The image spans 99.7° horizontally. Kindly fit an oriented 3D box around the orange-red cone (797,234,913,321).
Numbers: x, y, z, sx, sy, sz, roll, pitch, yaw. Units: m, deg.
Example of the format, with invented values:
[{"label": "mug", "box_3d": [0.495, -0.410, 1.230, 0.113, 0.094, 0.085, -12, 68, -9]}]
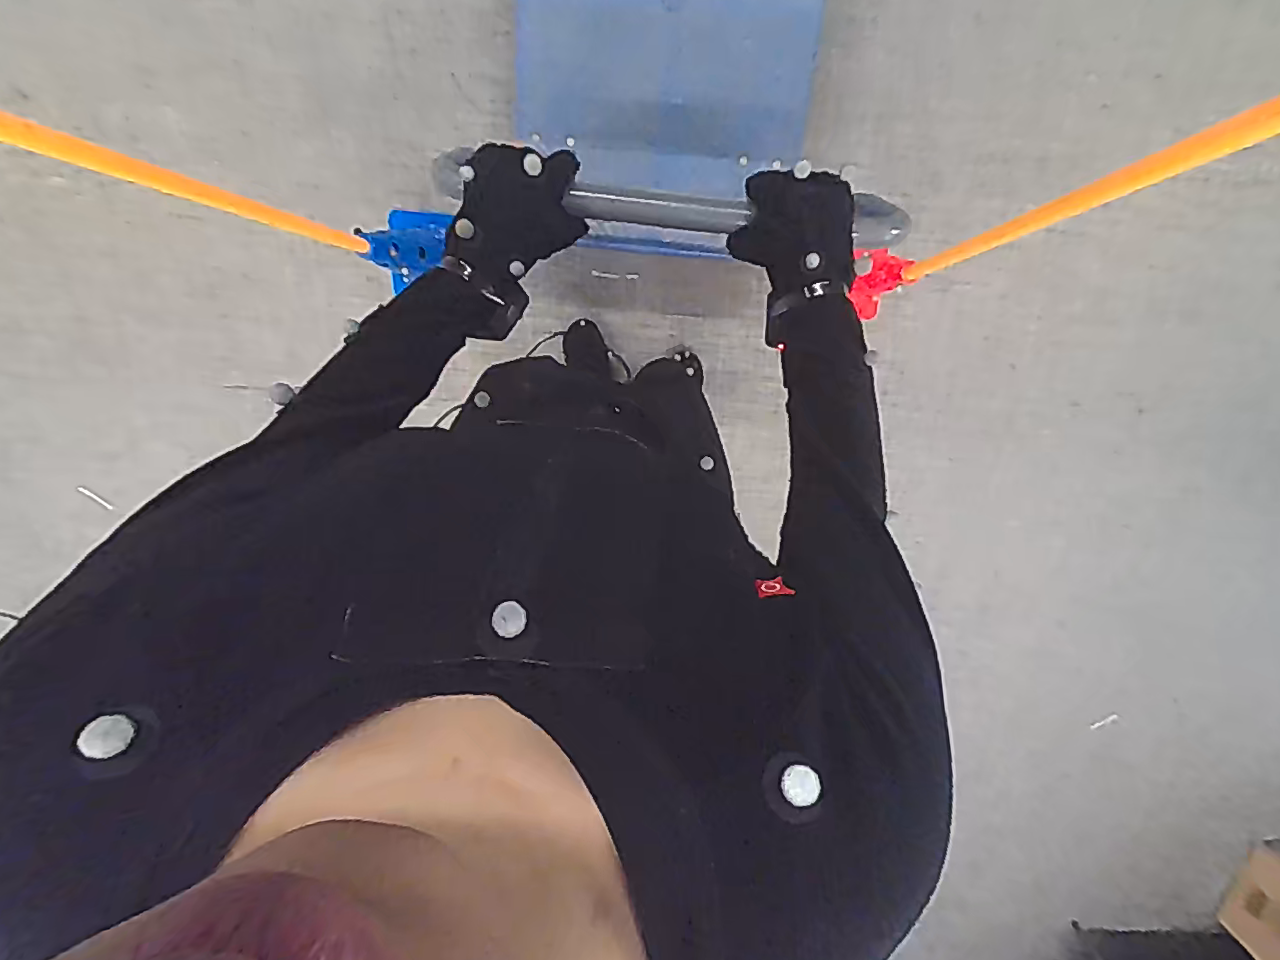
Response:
[{"label": "orange-red cone", "box_3d": [0.499, -0.451, 1.190, 0.199, 0.360, 0.198, 4, 108, -1]}]
